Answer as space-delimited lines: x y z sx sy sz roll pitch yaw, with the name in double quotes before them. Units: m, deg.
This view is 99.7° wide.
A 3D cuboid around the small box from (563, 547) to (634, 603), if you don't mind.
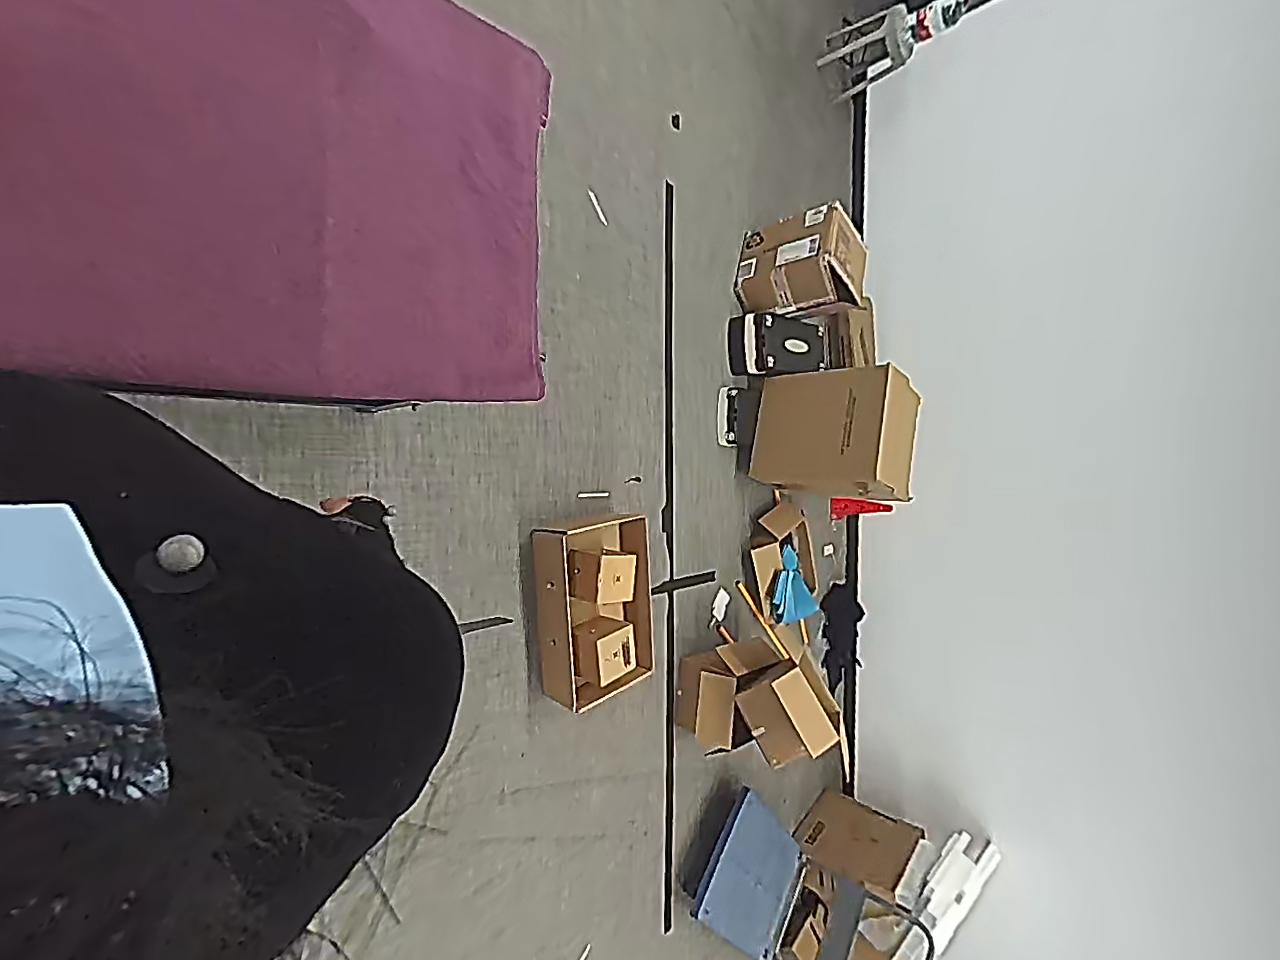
"small box" -0.146 0.331 1.918 0.179 0.176 0.168 7 88 -47
